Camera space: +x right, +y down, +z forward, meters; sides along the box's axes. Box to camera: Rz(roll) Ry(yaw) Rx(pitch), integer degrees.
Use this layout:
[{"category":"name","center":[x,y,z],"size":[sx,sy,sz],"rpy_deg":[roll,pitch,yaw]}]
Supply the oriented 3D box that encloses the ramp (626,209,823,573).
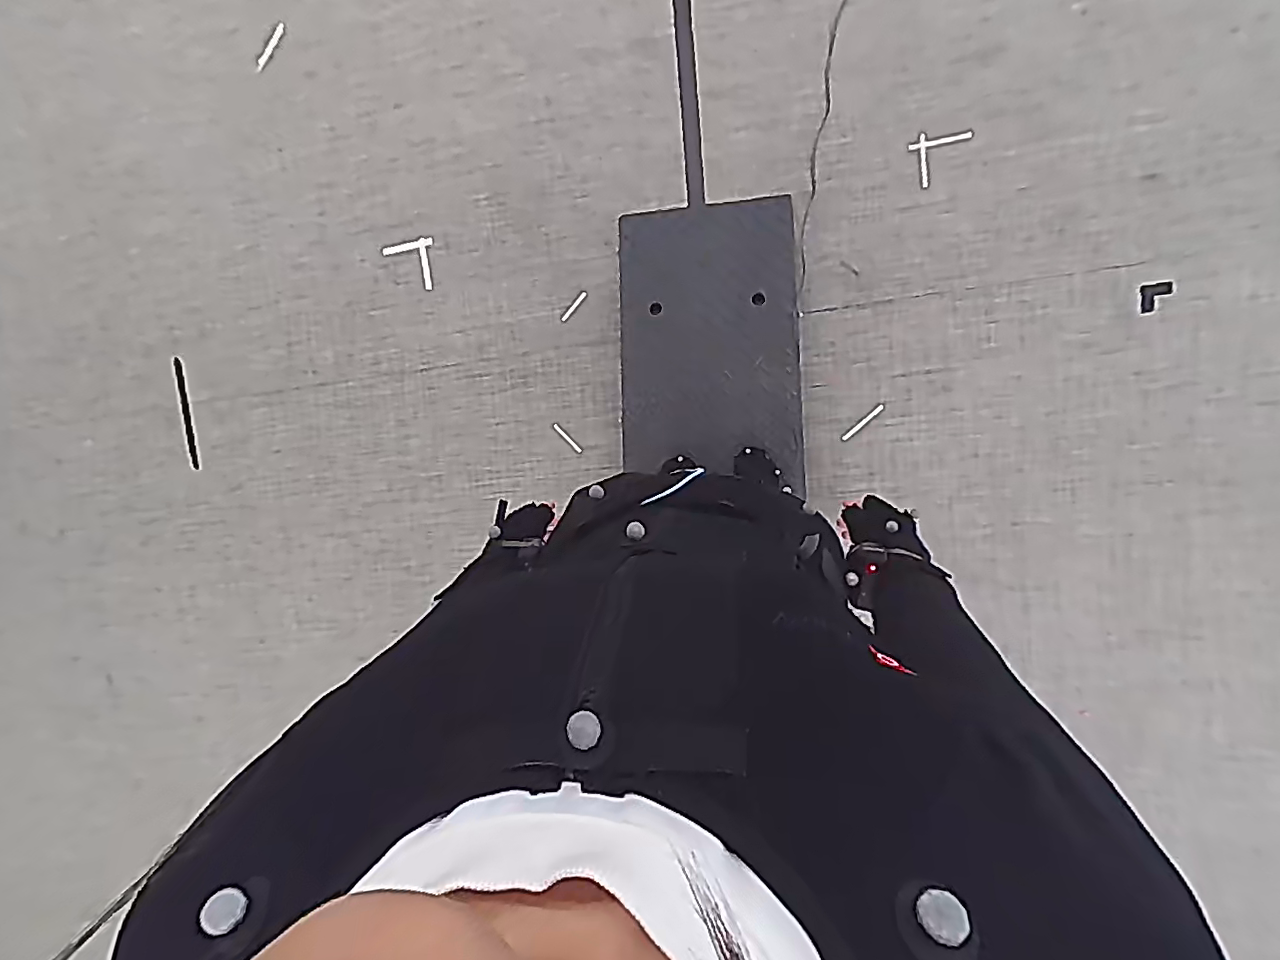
[{"category":"ramp","center":[0.213,-0.251,1.500],"size":[0.509,0.206,0.991],"rpy_deg":[-5,92,12]}]
